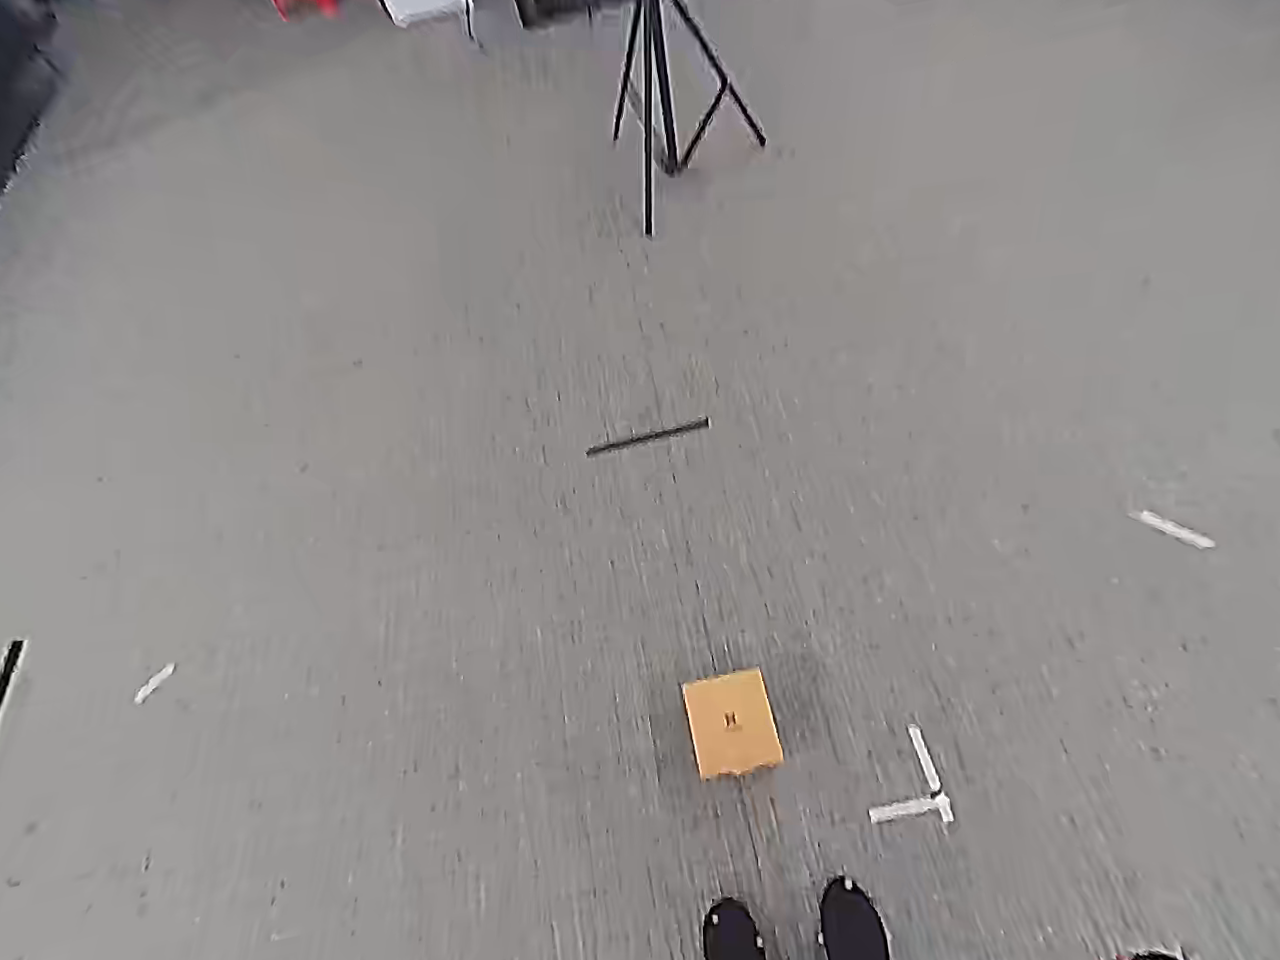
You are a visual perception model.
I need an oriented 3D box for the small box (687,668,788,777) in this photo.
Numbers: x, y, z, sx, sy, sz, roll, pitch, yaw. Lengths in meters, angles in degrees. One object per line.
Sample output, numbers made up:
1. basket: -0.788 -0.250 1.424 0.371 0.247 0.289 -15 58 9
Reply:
1. small box: 0.200 0.513 1.140 0.168 0.176 0.179 -14 63 4
